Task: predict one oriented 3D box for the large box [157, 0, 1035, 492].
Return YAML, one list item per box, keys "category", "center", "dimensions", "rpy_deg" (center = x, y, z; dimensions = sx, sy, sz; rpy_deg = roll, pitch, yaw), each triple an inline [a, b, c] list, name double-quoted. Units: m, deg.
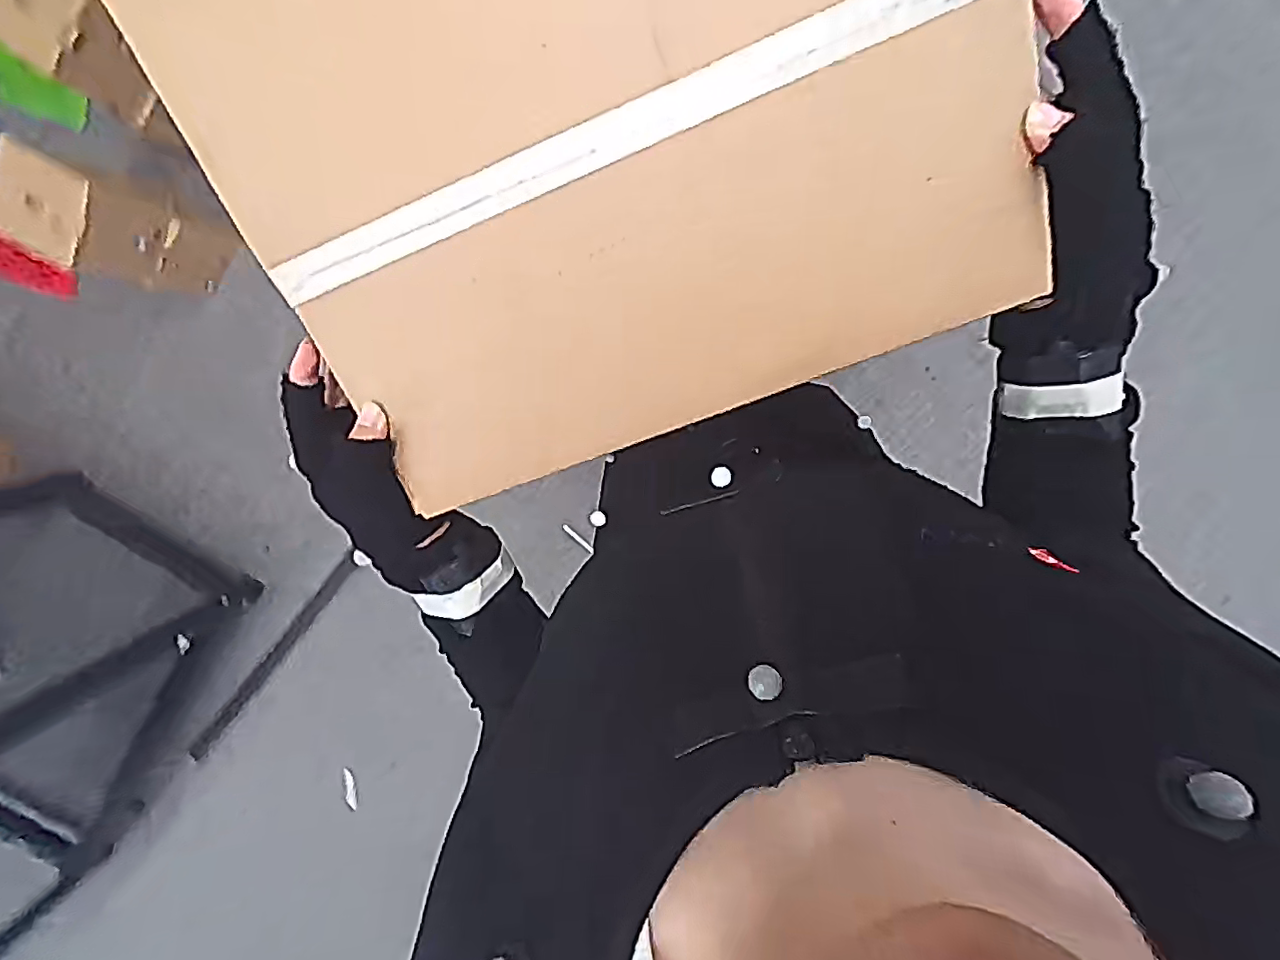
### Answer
- category: "large box"
  center: [-0.007, -0.241, 0.426]
  dimensions: [0.408, 0.320, 0.320]
  rpy_deg: [-19, 112, 8]
